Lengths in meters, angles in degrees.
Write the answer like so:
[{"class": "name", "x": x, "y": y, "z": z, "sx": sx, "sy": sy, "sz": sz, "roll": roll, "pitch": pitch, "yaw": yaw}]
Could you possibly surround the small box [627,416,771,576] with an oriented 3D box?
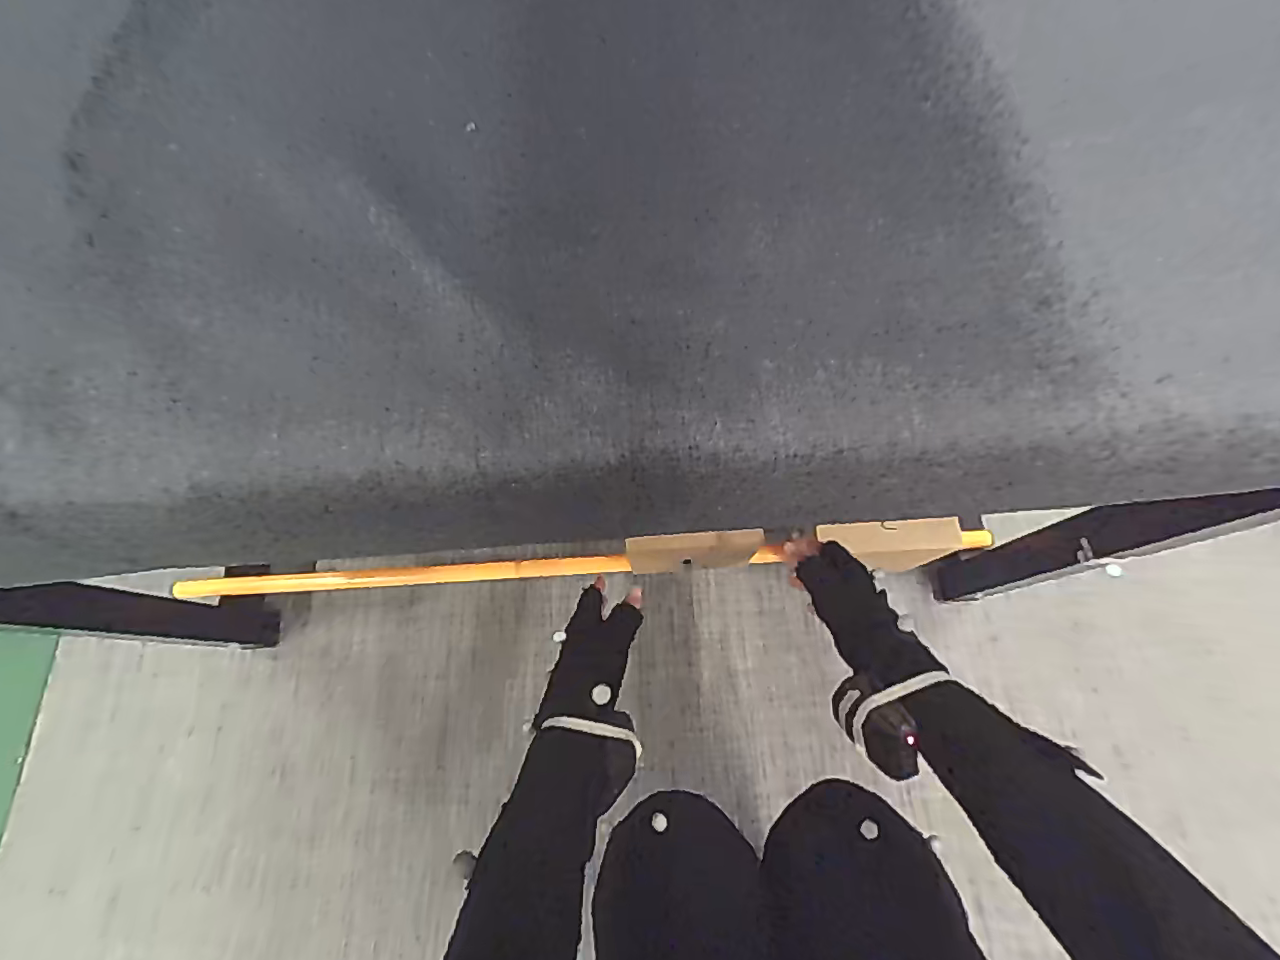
[{"class": "small box", "x": 0.072, "y": 0.031, "z": 0.735, "sx": 0.168, "sy": 0.176, "sz": 0.179, "roll": -4, "pitch": 70, "yaw": 0}]
